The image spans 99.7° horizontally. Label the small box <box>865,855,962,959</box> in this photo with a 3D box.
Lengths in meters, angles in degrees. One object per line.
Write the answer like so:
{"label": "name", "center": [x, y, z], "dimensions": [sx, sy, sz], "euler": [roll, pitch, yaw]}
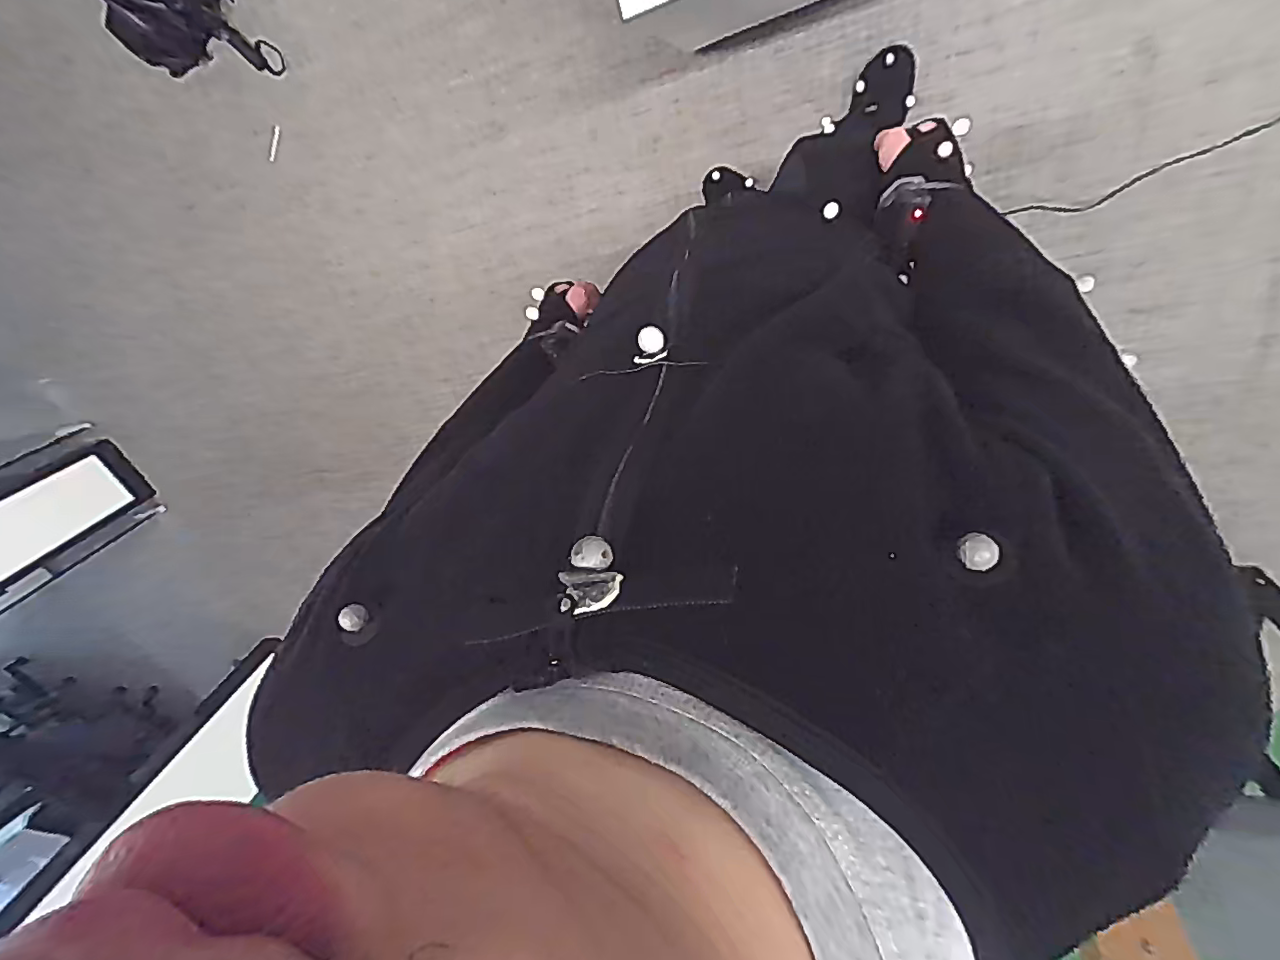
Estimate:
{"label": "small box", "center": [0.666, 1.062, 1.336], "dimensions": [0.179, 0.176, 0.168], "euler": [-2, 122, 15]}
